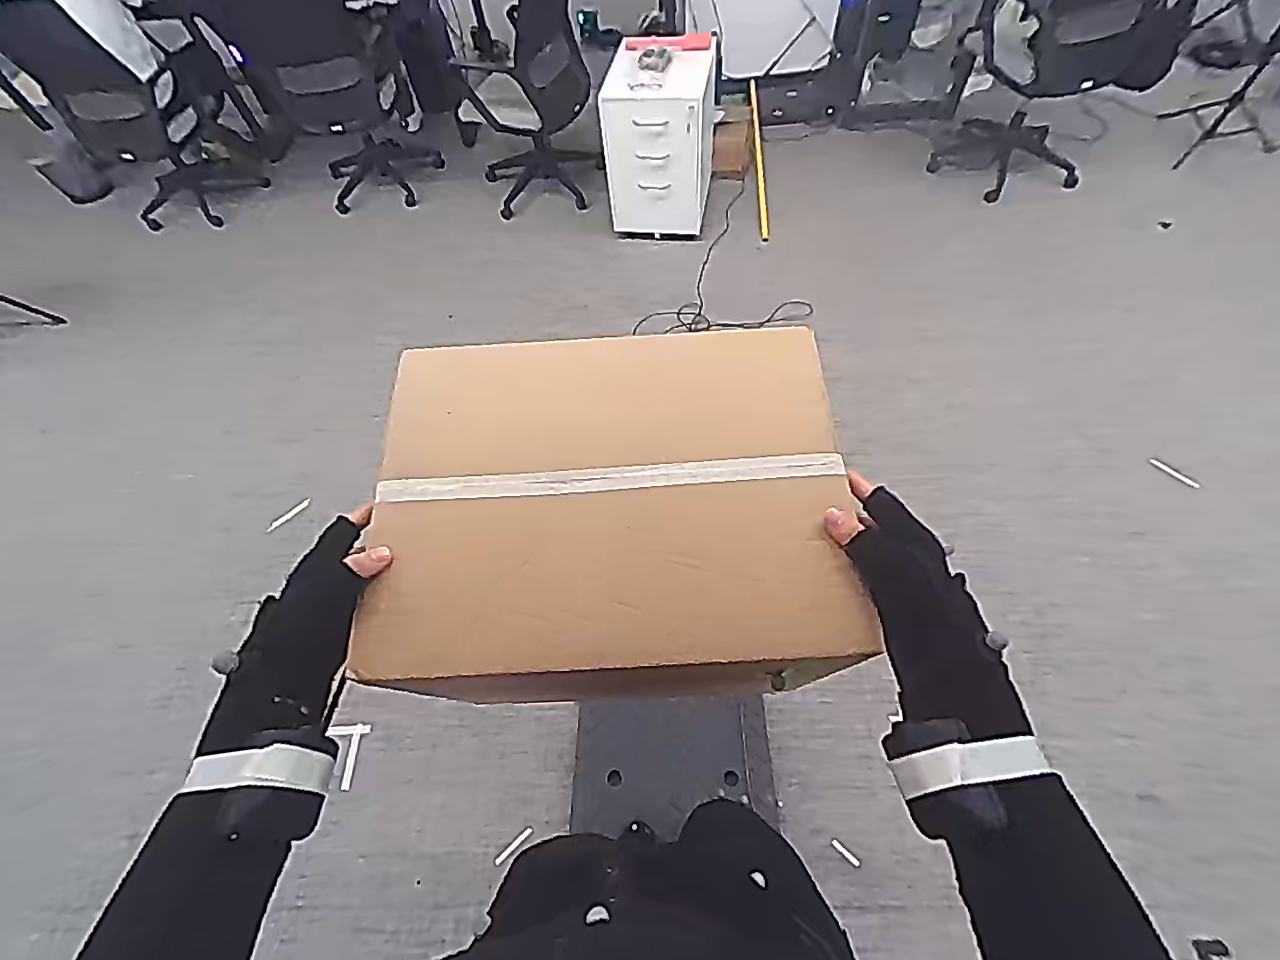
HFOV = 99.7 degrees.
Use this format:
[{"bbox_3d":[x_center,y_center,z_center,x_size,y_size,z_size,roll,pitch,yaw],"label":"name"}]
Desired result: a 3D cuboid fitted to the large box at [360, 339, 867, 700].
[{"bbox_3d":[-0.023,0.070,0.615,0.408,0.320,0.320,-3,64,0],"label":"large box"}]
